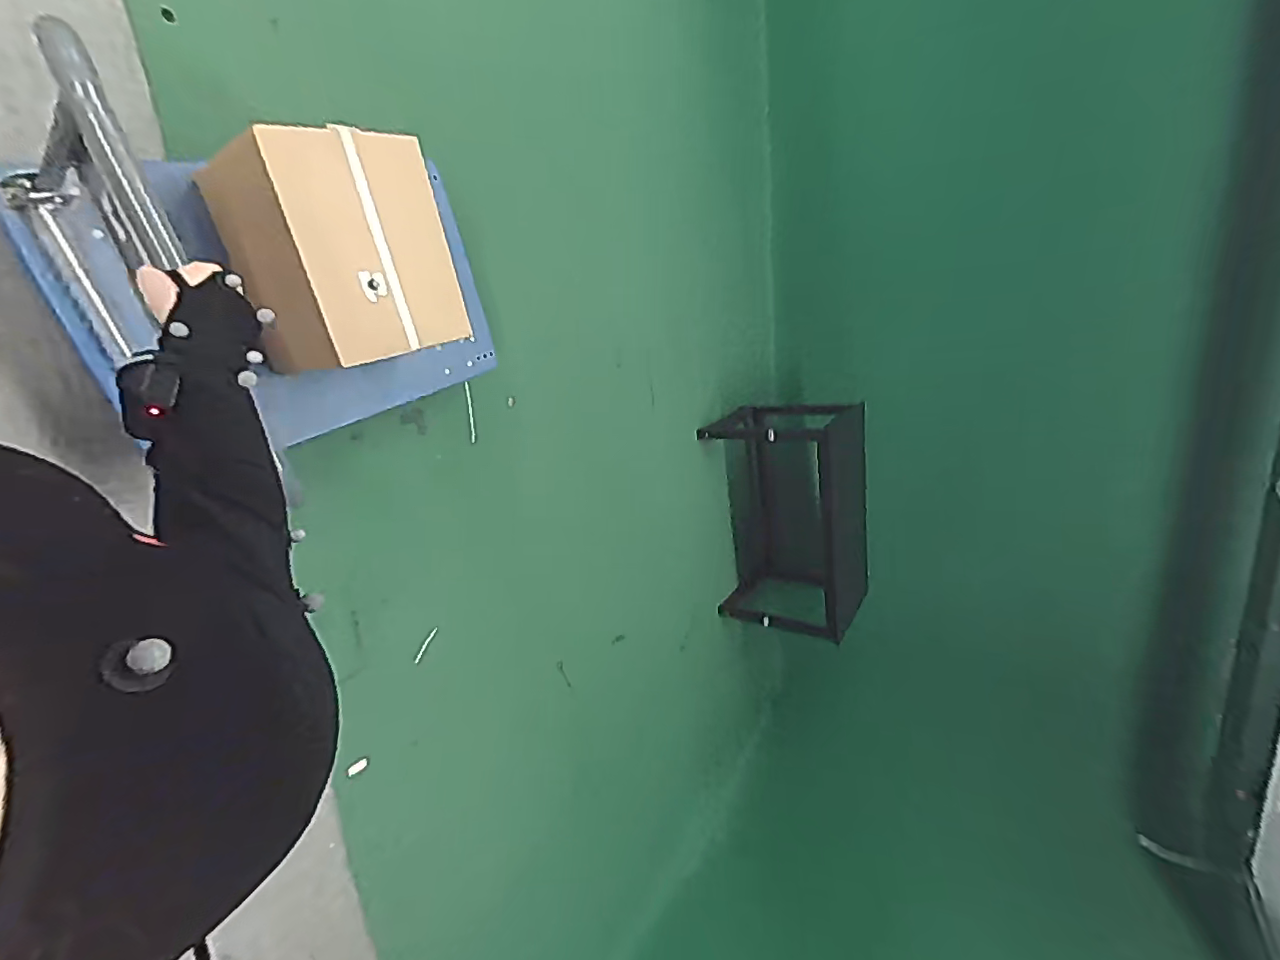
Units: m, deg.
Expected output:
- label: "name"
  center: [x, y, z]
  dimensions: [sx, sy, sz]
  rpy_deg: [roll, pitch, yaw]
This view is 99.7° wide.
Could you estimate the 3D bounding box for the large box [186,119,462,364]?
- label: "large box"
  center: [-0.649, -0.483, 1.145]
  dimensions: [0.320, 0.320, 0.408]
  rpy_deg: [-34, 121, -46]
